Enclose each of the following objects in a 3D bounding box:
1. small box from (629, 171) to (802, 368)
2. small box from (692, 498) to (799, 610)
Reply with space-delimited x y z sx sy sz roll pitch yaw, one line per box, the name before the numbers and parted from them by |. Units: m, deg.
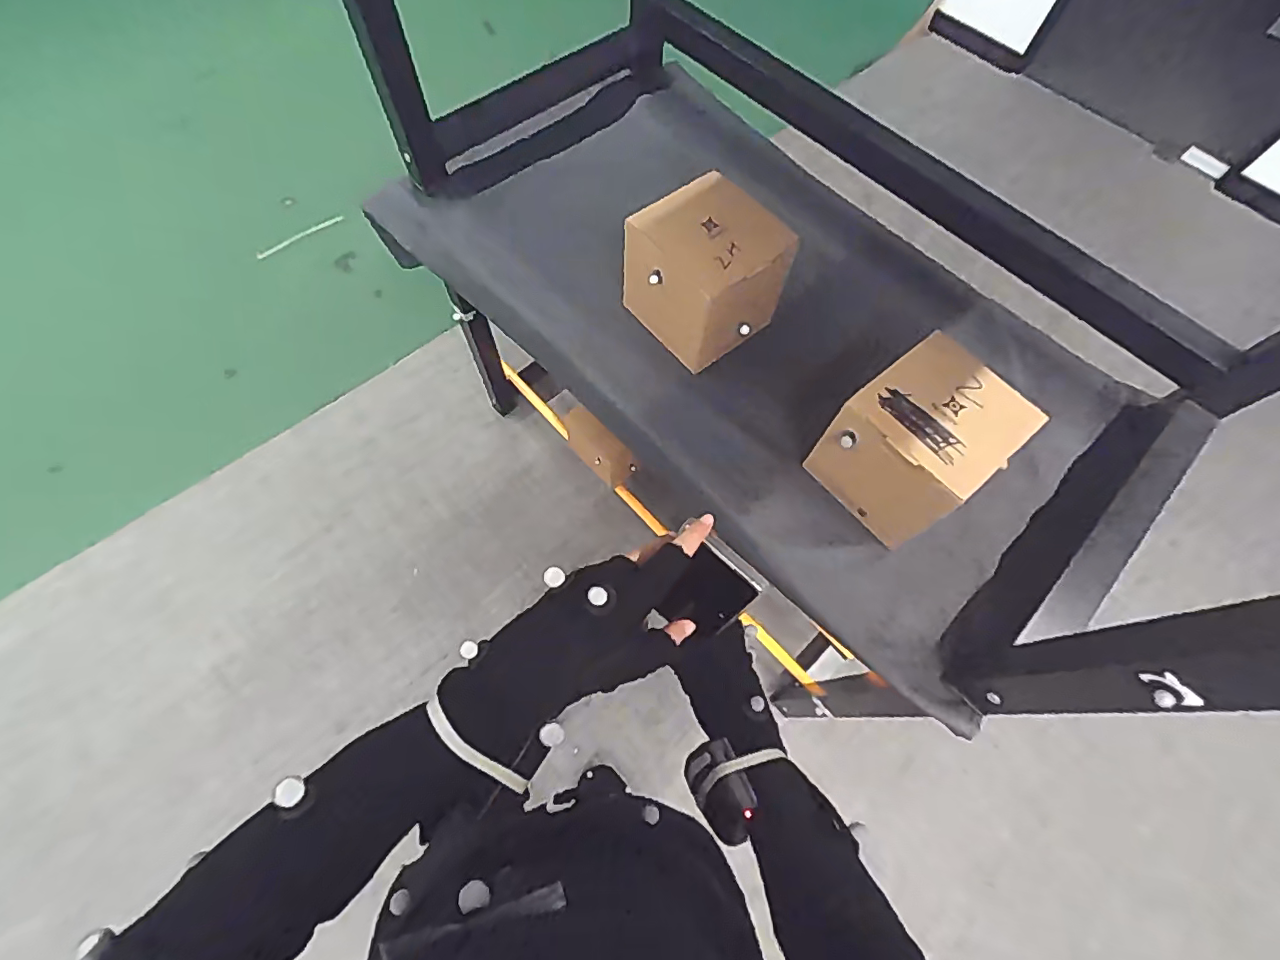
small box | 0.096 -0.300 0.790 0.168 0.176 0.179 -37 72 -17
small box | 0.235 0.179 1.264 0.179 0.176 0.168 -37 72 -16
